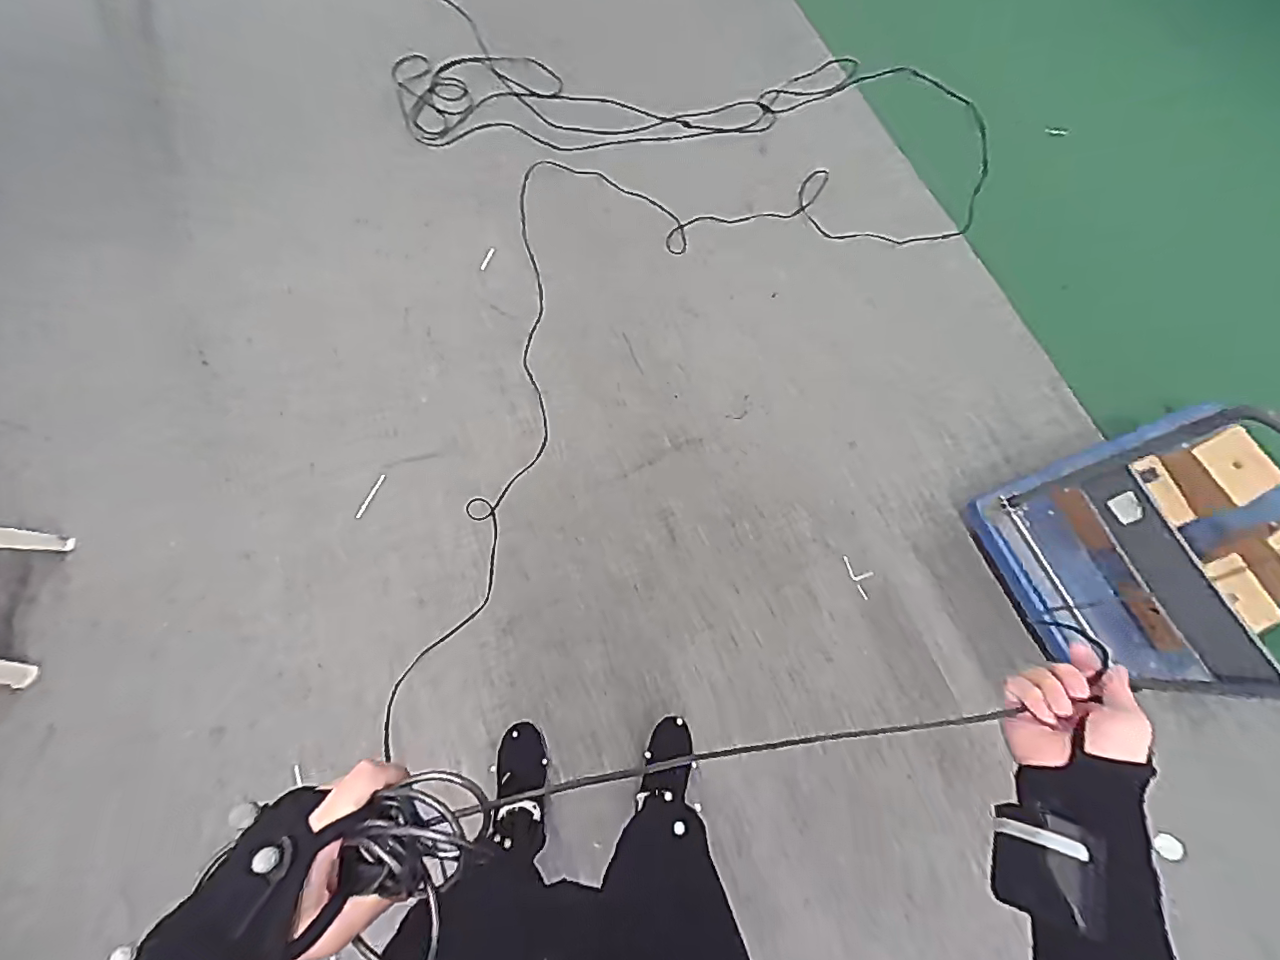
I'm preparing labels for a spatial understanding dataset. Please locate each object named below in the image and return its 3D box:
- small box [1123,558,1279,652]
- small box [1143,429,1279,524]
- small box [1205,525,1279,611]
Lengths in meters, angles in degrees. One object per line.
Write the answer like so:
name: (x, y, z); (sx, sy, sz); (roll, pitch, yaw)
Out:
small box: (1.341, 0.304, 1.301); (0.179, 0.176, 0.168); (-19, 73, -8)
small box: (1.484, -0.002, 1.413); (0.179, 0.176, 0.168); (-23, 74, -10)
small box: (1.593, 0.214, 1.342); (0.179, 0.176, 0.168); (-24, 73, -9)
